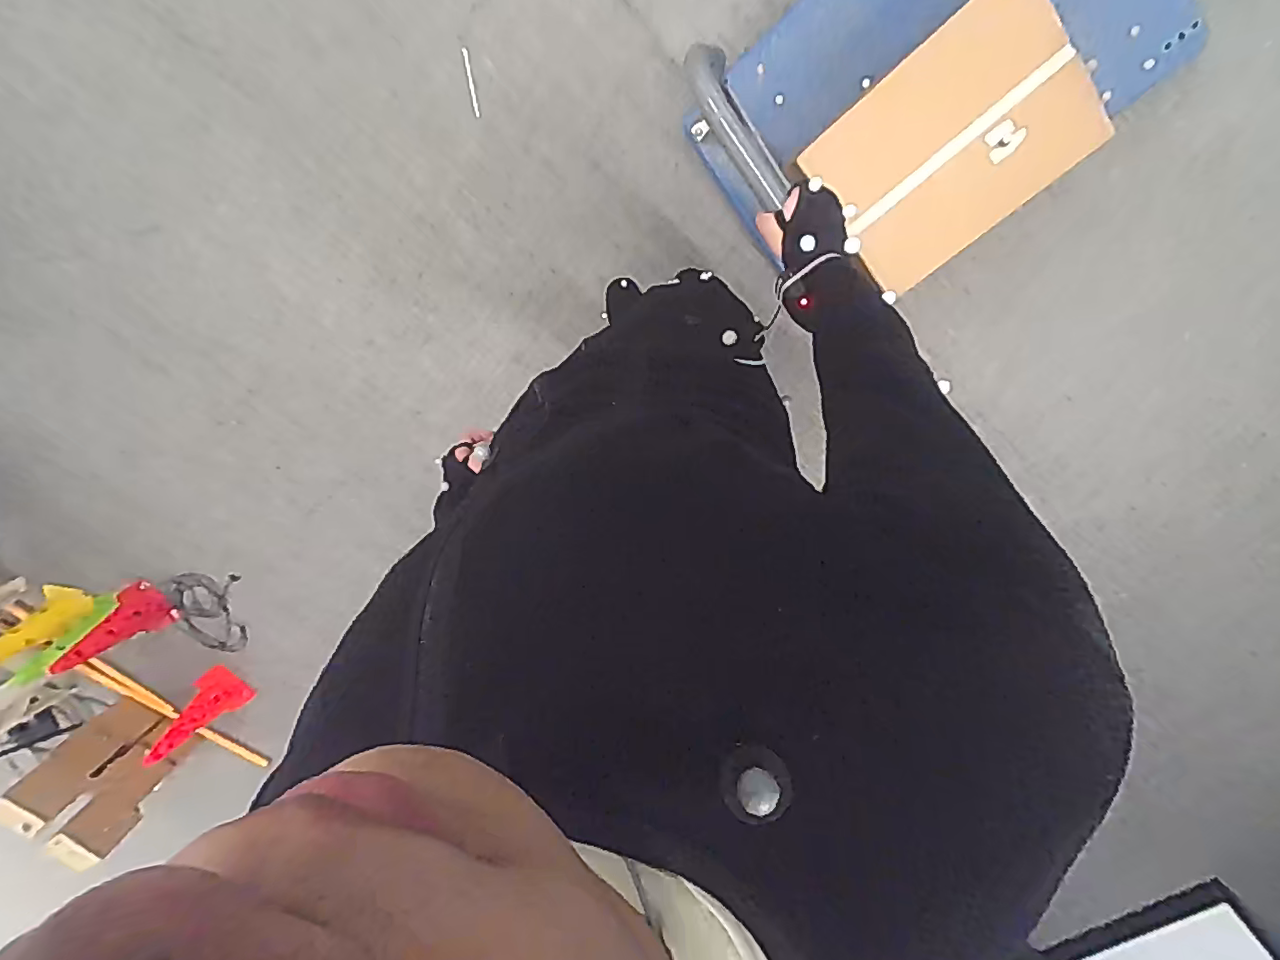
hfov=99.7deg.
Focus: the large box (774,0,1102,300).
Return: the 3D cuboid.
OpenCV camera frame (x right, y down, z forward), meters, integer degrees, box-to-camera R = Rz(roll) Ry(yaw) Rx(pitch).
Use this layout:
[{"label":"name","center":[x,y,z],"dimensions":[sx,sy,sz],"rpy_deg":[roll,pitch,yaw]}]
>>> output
[{"label":"large box","center":[0.529,-0.615,1.051],"dimensions":[0.408,0.320,0.320],"rpy_deg":[-37,106,18]}]
